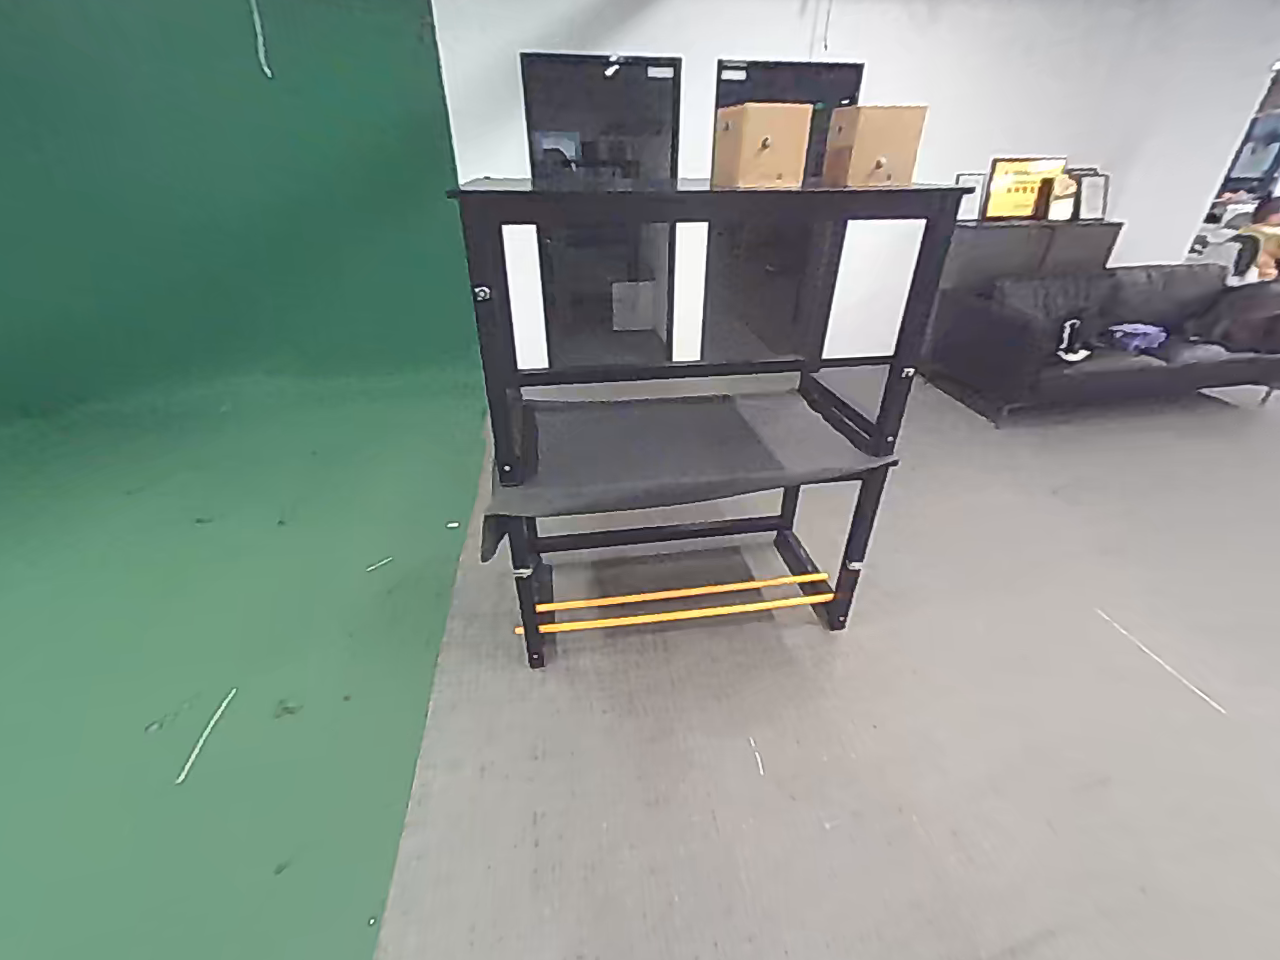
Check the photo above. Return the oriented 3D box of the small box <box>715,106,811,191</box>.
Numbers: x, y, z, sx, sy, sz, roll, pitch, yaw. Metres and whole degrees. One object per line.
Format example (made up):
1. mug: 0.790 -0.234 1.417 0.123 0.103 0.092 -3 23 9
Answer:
1. small box: 0.291 -0.802 1.314 0.168 0.176 0.179 -7 31 -12

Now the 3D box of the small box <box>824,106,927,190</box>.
1. small box: 0.580 -0.830 1.359 0.168 0.176 0.179 -2 32 -3
